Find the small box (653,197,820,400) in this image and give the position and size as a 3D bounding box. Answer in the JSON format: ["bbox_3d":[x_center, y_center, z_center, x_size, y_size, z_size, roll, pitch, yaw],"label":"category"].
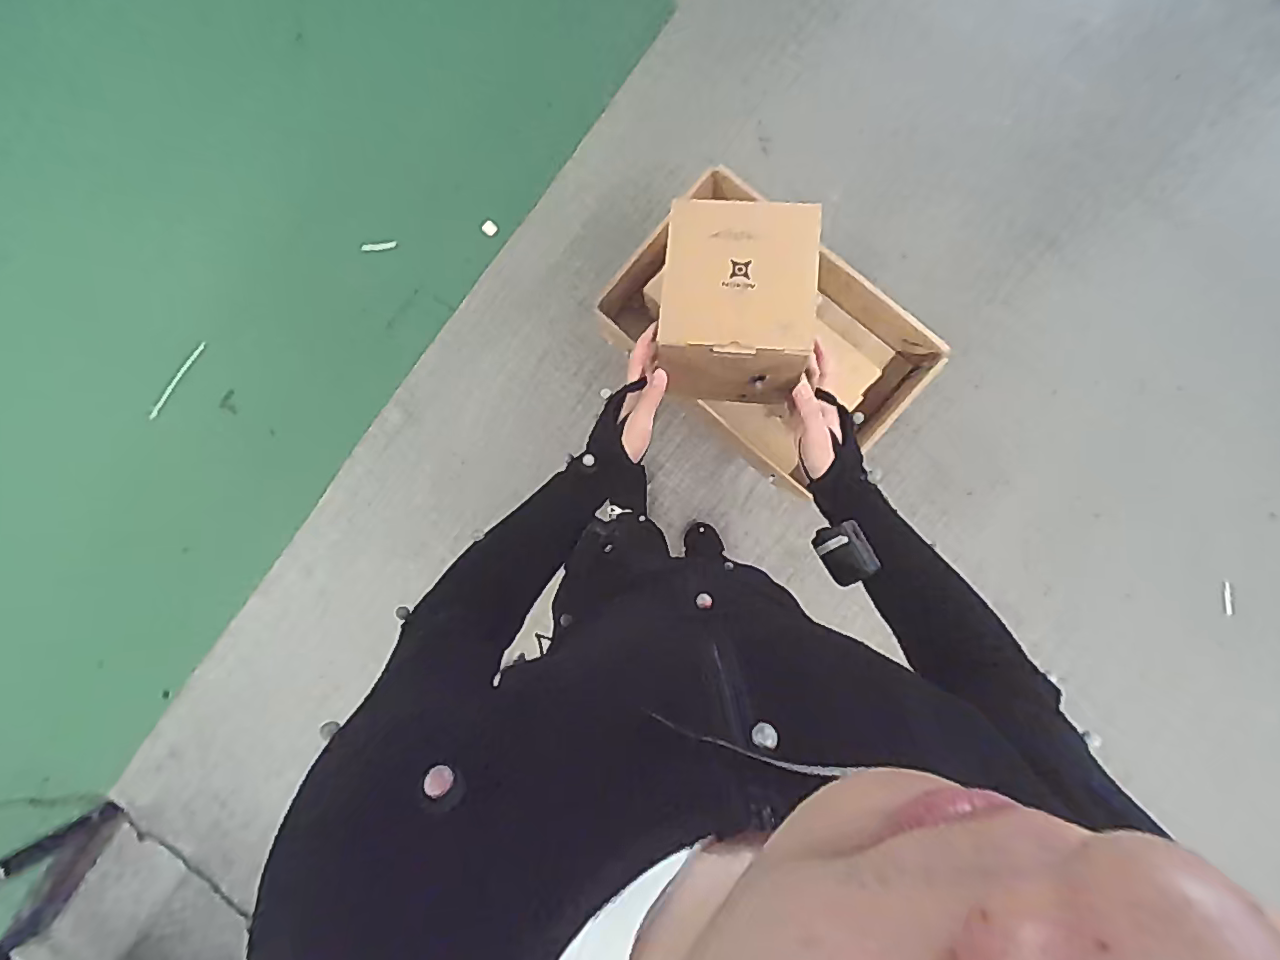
[{"bbox_3d":[0.110,-0.206,0.652,0.168,0.176,0.179,5,80,5],"label":"small box"}]
